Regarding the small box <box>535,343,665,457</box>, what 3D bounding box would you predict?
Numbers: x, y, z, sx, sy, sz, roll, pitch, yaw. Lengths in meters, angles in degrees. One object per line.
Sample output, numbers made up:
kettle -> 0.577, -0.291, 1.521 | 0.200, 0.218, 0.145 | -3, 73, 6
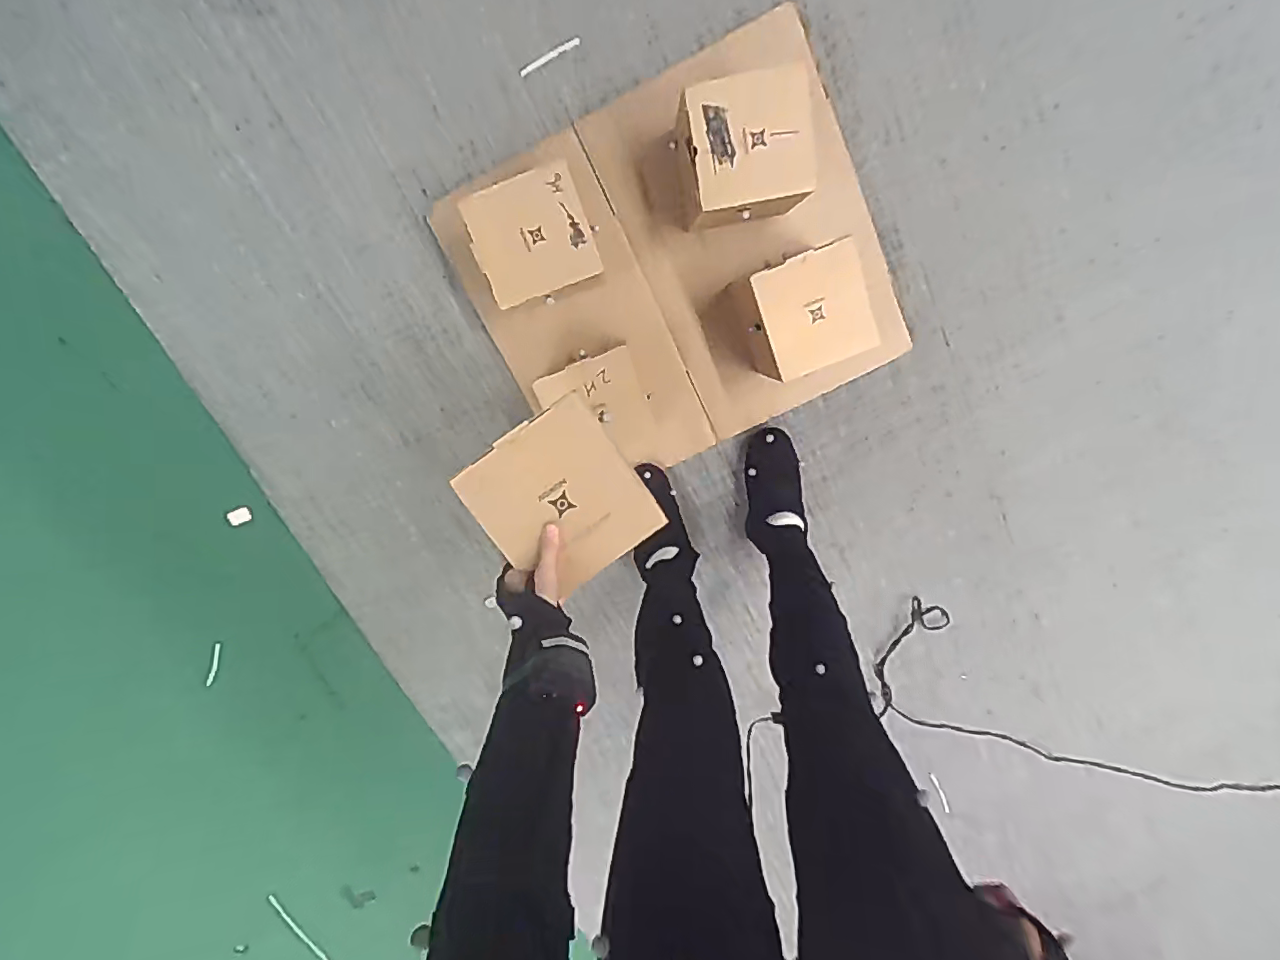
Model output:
small box -> -0.062, -0.130, 0.945 | 0.168, 0.176, 0.179 | -20, 105, 5

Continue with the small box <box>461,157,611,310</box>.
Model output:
small box -> -0.155, -0.382, 0.873 | 0.179, 0.176, 0.168 | -19, 105, 5

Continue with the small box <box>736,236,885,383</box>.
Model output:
small box -> 0.275, -0.280, 0.903 | 0.168, 0.176, 0.179 | -22, 104, 5

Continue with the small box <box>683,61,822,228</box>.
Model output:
small box -> 0.164, -0.503, 0.837 | 0.179, 0.176, 0.168 | -10, 106, 0

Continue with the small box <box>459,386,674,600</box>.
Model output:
small box -> -0.082, 0.008, 0.648 | 0.168, 0.176, 0.179 | -34, 99, 1
